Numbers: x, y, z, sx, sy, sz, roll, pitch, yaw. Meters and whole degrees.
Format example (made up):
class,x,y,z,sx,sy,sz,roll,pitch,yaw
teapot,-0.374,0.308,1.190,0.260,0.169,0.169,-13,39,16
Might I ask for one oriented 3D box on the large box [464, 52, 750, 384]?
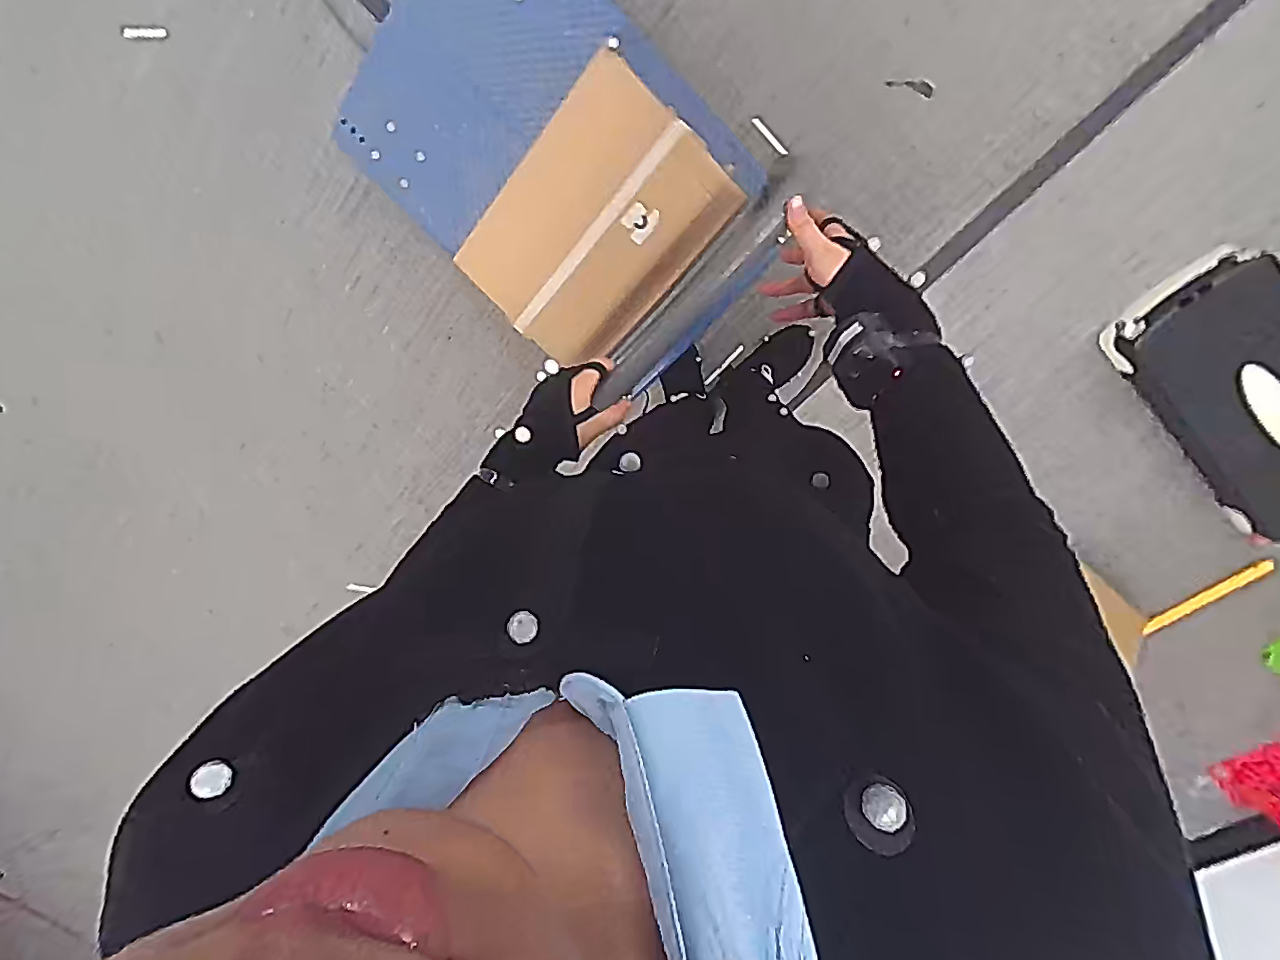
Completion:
class,x,y,z,sx,sy,sz,roll,pitch,yaw
large box,-0.044,-0.450,1.020,0.320,0.320,0.408,44,111,-8
